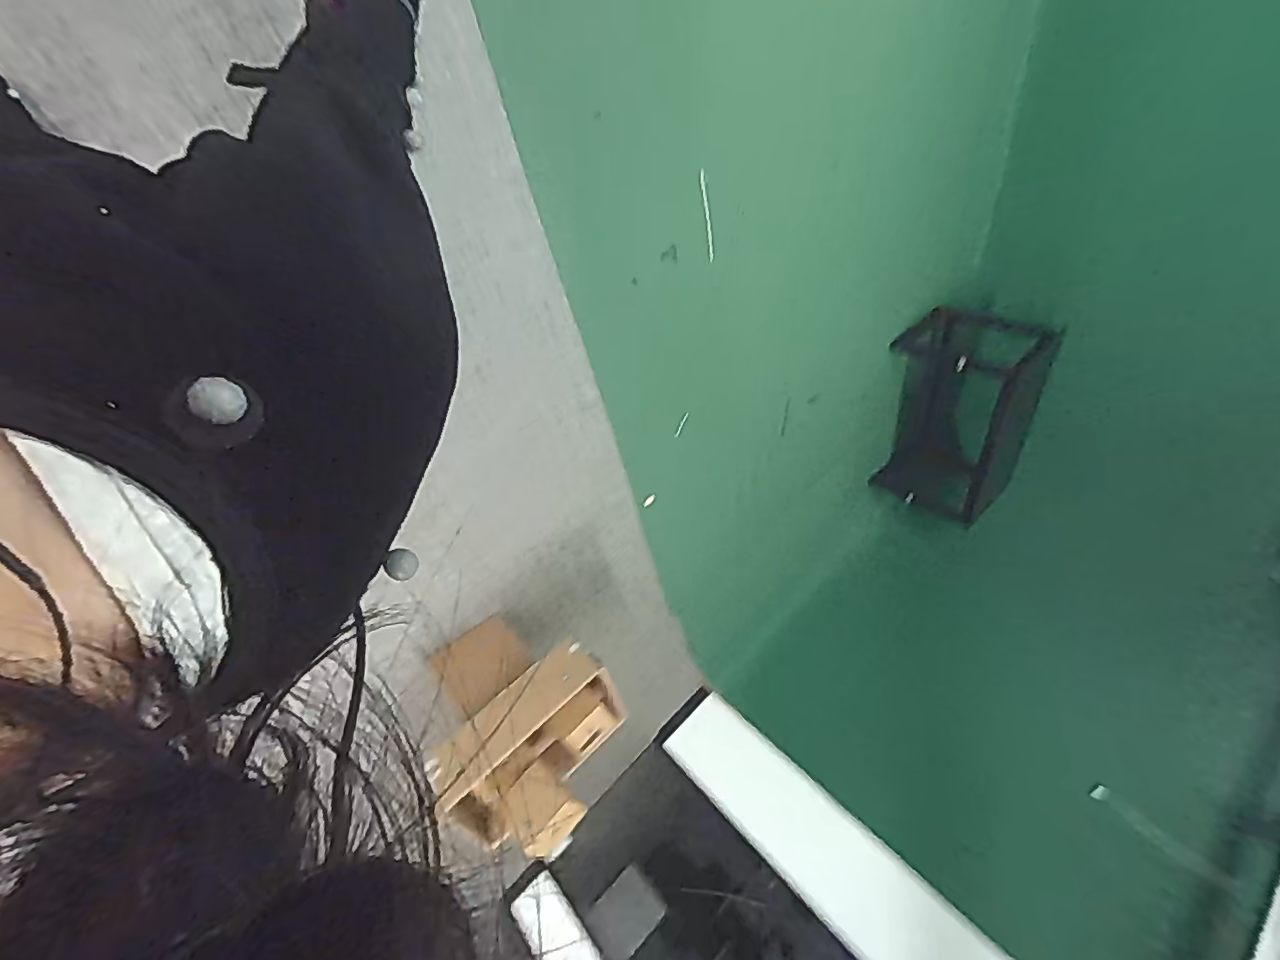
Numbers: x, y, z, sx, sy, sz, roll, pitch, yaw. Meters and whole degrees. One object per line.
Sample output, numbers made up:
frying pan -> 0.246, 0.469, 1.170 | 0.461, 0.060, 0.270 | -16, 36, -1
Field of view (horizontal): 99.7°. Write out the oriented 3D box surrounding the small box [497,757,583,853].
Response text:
small box -> -0.315, 1.000, 1.666 | 0.179, 0.176, 0.168 | -45, 140, -18

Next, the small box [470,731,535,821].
small box -> -0.436, 0.962, 1.776 | 0.168, 0.176, 0.179 | -31, 133, -31
